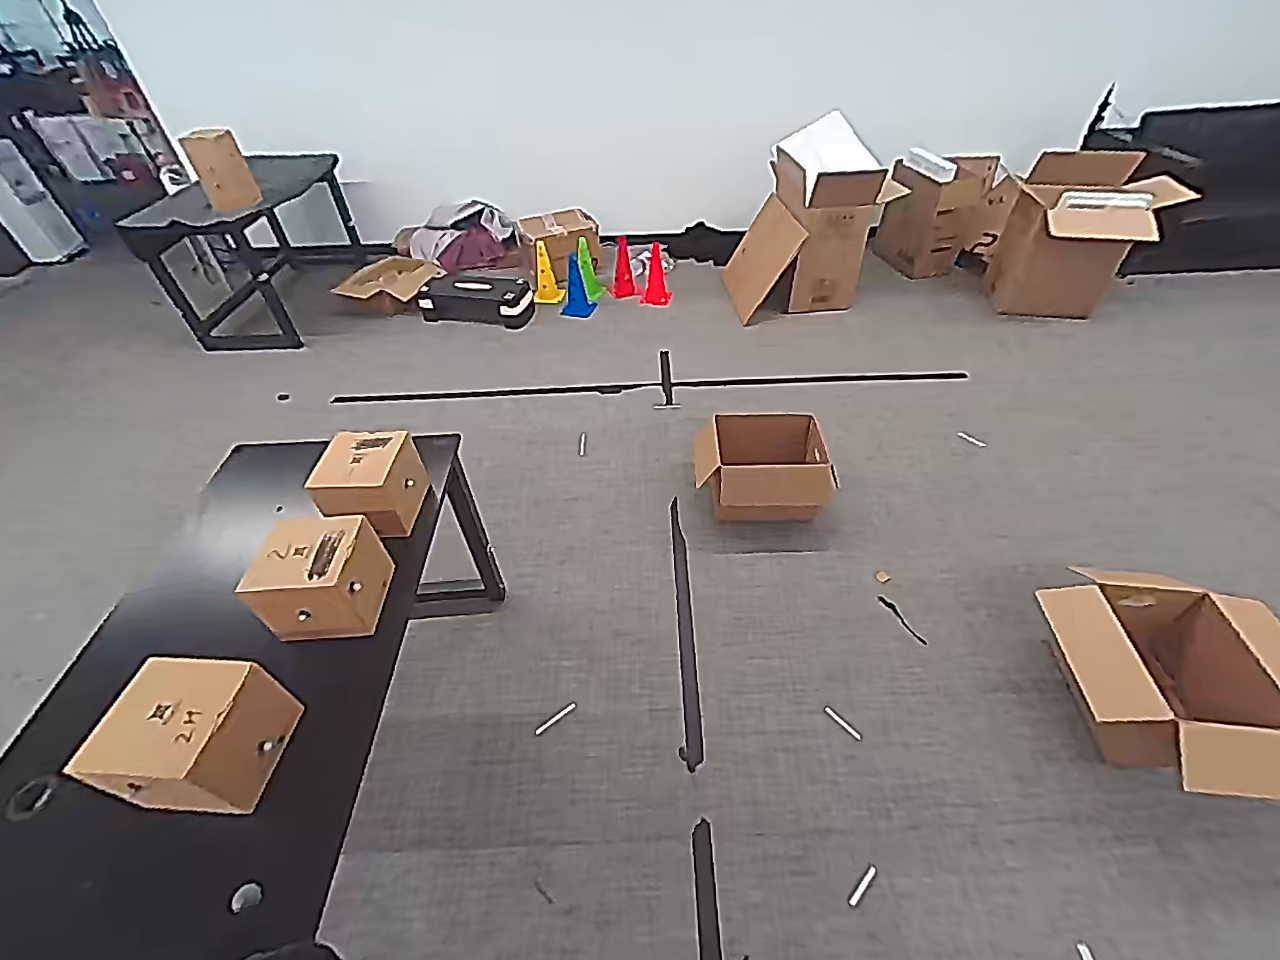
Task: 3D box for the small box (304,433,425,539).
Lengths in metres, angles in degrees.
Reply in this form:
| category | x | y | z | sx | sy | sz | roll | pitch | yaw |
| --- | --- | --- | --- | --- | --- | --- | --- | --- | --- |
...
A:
| category | x | y | z | sx | sy | sz | roll | pitch | yaw |
| --- | --- | --- | --- | --- | --- | --- | --- | --- | --- |
| small box | -0.600 | 0.013 | 1.207 | 0.168 | 0.176 | 0.179 | -2 | 46 | 2 |

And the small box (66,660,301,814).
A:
| category | x | y | z | sx | sy | sz | roll | pitch | yaw |
| --- | --- | --- | --- | --- | --- | --- | --- | --- | --- |
| small box | -0.673 | 0.393 | 0.825 | 0.179 | 0.176 | 0.168 | 1 | 45 | 4 |
